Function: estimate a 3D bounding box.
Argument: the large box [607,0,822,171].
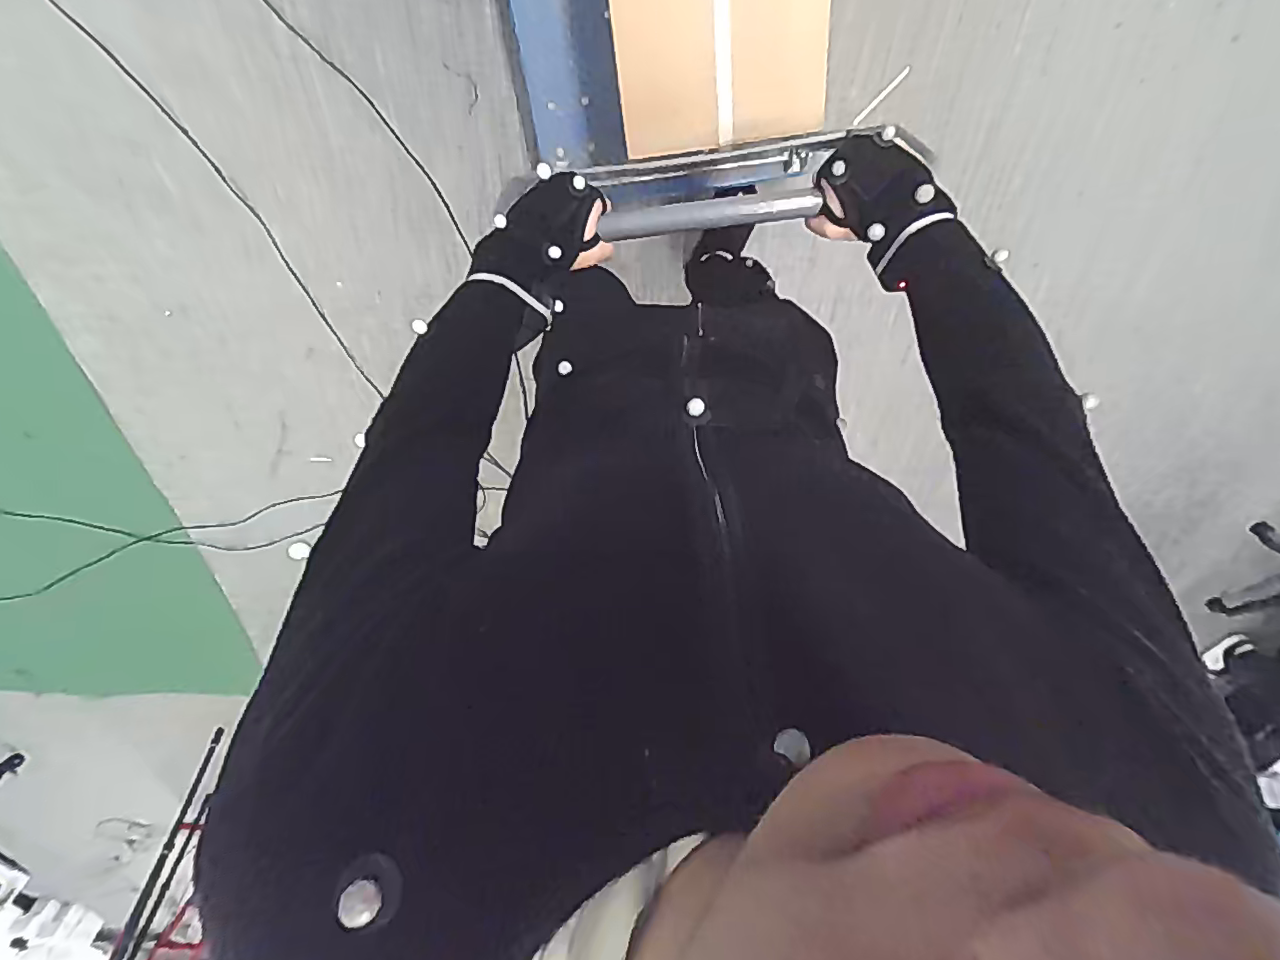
[{"bbox_3d":[0.113,-0.778,0.906,0.320,0.320,0.408,-6,123,5],"label":"large box"}]
